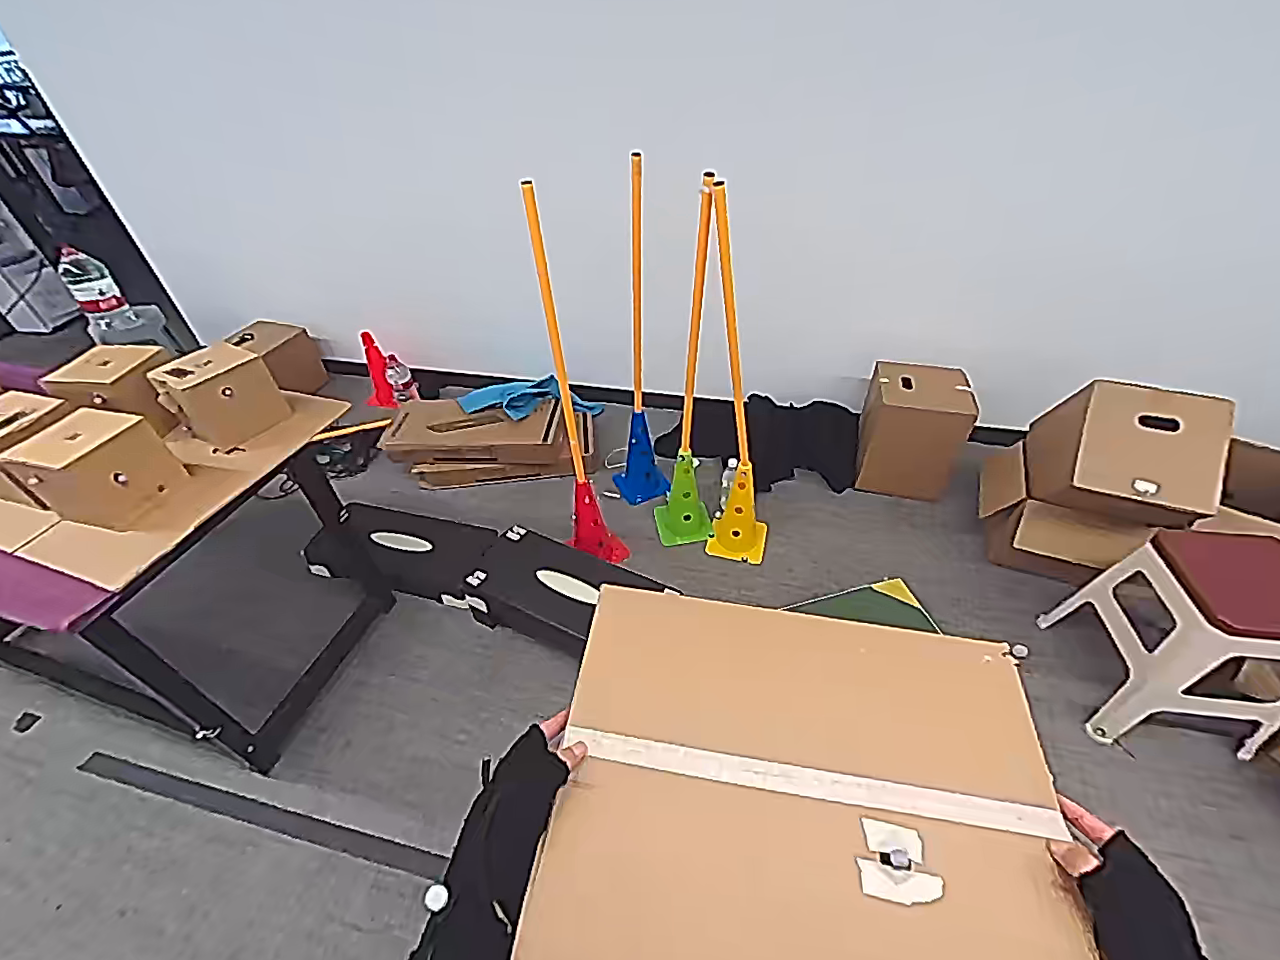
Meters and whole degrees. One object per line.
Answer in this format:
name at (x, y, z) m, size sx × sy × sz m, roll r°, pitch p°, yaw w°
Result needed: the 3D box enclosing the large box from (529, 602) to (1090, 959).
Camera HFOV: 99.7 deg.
large box at (0.134, 0.361, 0.565) m, size 0.408 × 0.320 × 0.320 m, roll 7°, pitch 49°, yaw 6°
